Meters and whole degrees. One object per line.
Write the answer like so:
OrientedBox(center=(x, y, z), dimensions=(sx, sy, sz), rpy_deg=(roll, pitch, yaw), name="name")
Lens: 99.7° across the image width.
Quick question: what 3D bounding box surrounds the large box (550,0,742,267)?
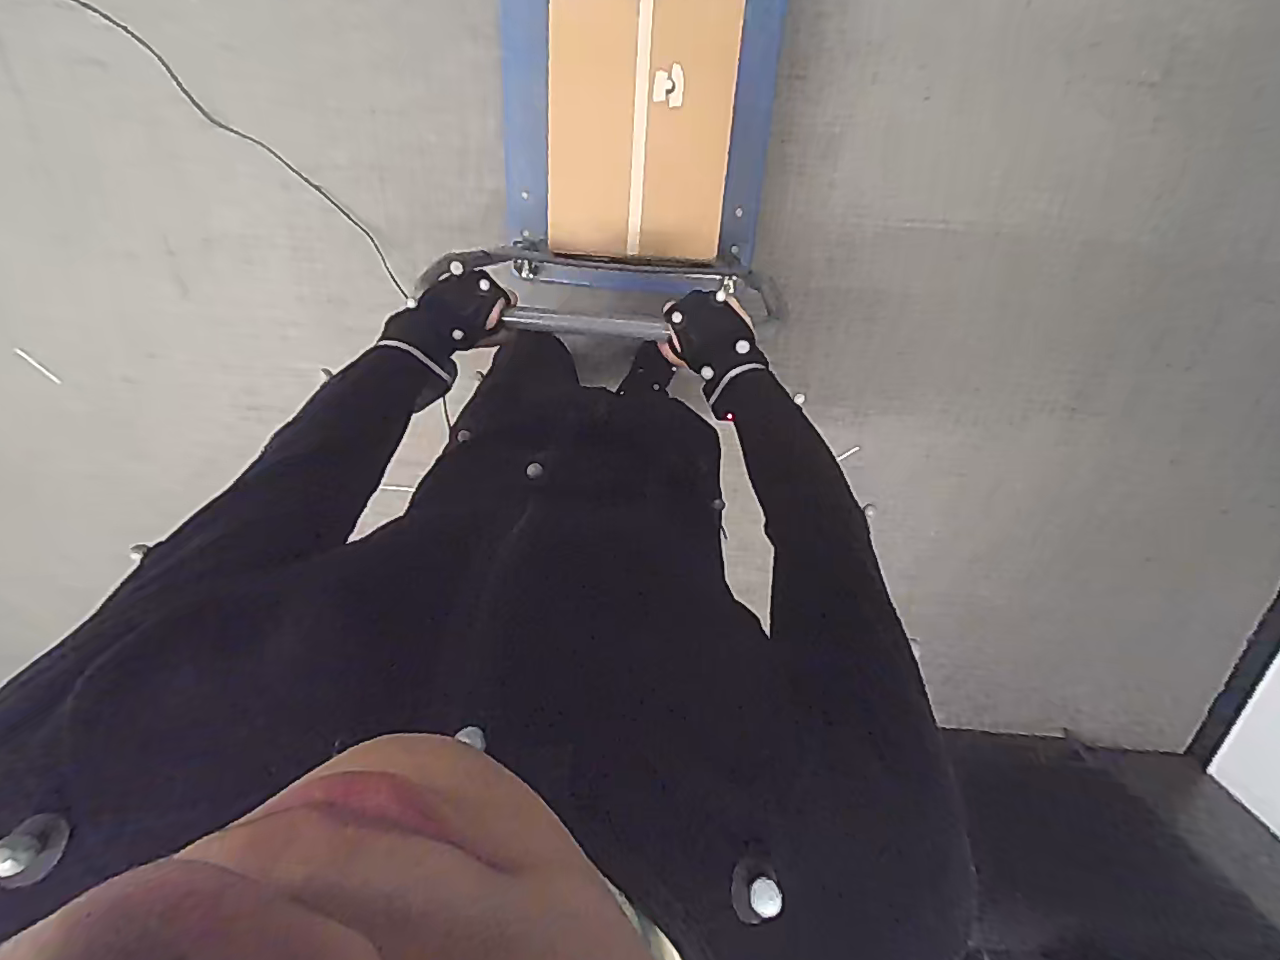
OrientedBox(center=(0.007, -0.644, 1.067), dimensions=(0.320, 0.320, 0.408), rpy_deg=(4, 111, 0), name="large box")
